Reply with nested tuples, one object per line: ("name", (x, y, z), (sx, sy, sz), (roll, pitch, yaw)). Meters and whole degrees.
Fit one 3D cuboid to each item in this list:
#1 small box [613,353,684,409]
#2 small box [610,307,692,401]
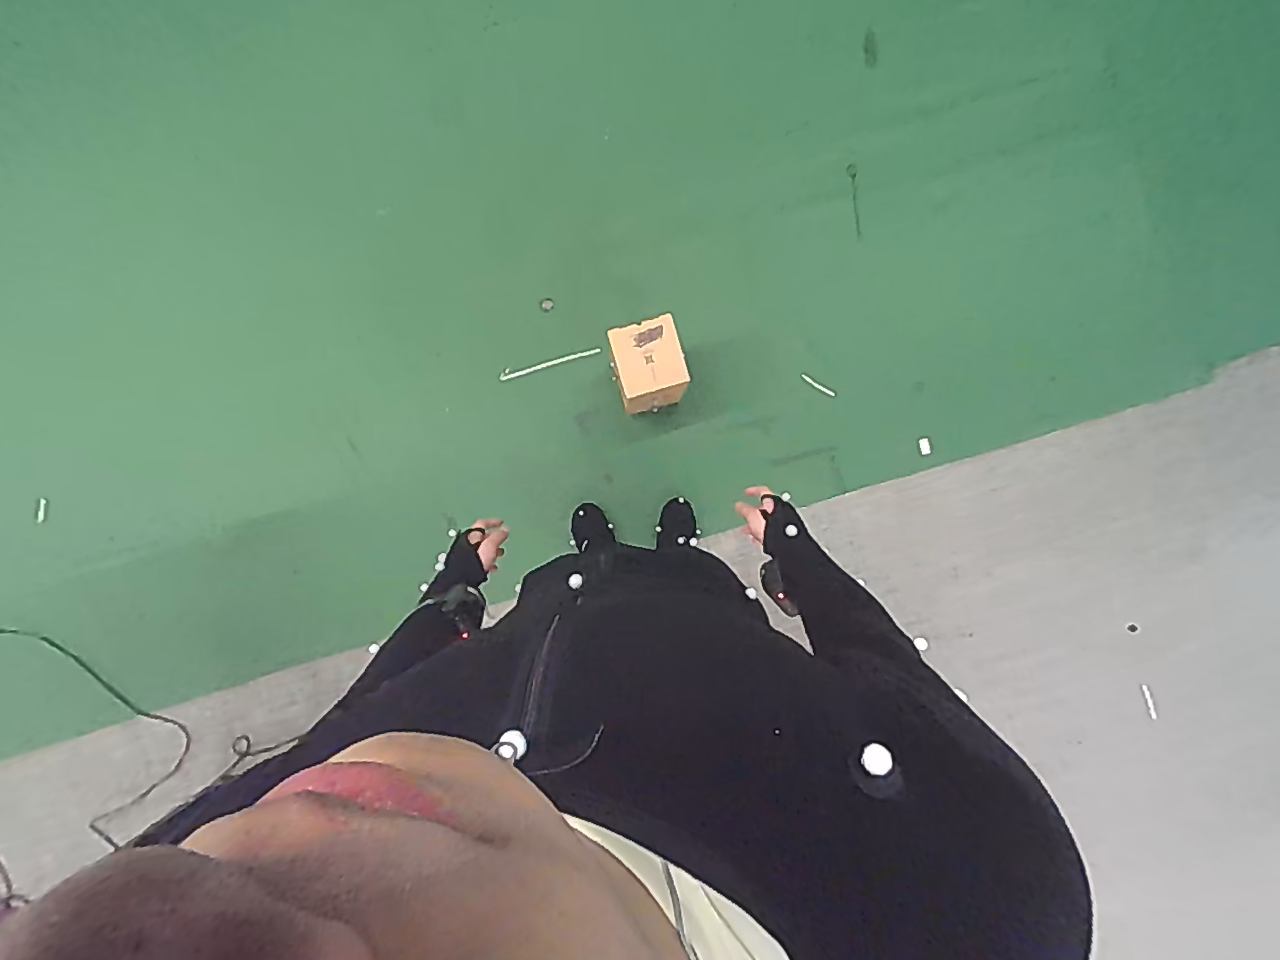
("small box", (0.019, -0.317, 1.553), (0.168, 0.176, 0.179), (-16, 91, -1))
("small box", (0.023, -0.317, 1.389), (0.168, 0.176, 0.179), (-17, 91, -1))
